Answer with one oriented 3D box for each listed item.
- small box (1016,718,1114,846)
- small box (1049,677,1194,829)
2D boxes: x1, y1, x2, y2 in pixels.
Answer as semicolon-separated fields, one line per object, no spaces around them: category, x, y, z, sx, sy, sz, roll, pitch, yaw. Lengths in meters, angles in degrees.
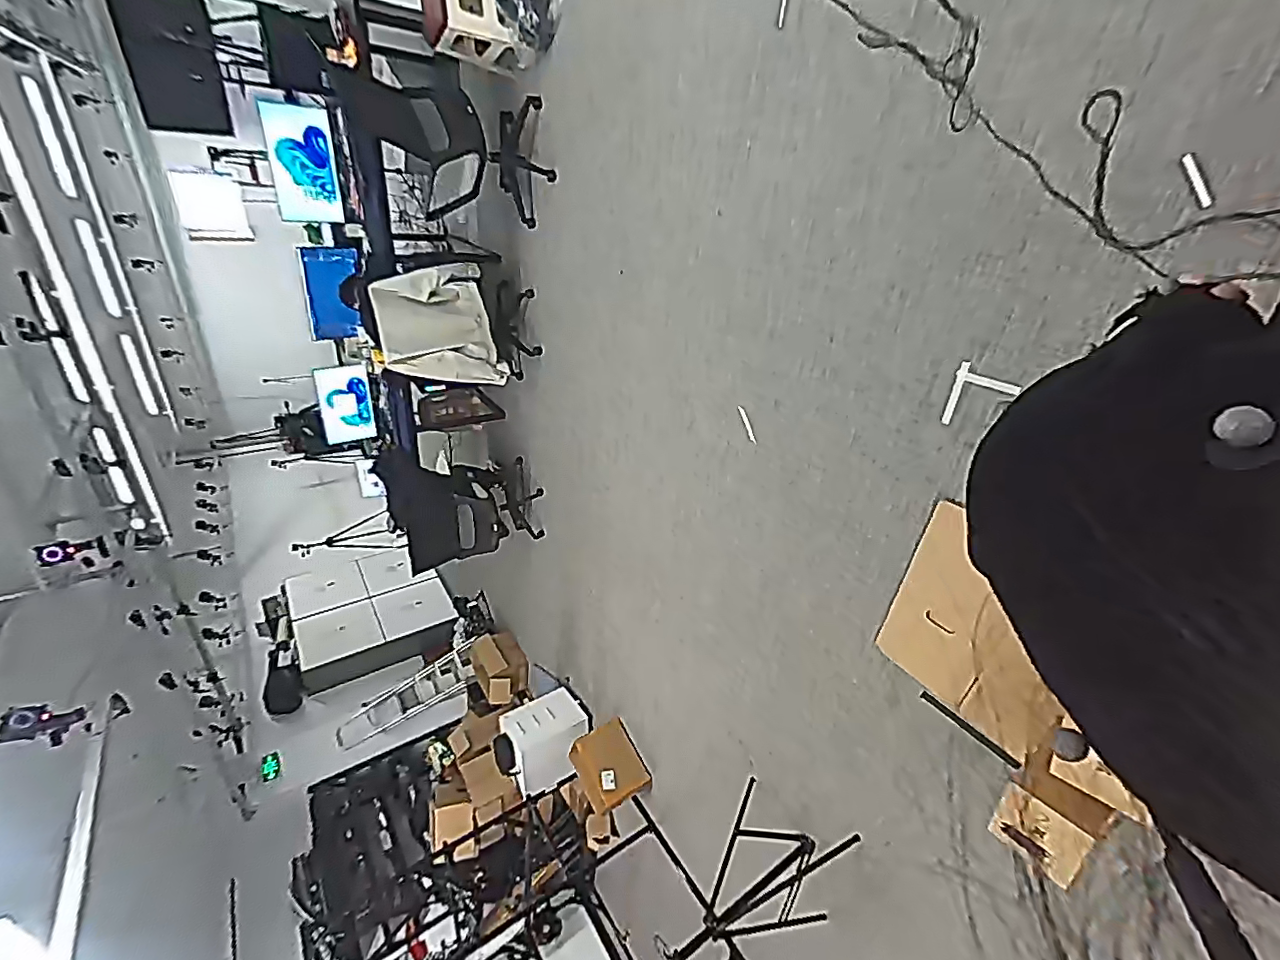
small box;1.069;0.731;1.325;0.168;0.176;0.179;28;125;48
small box;0.968;0.539;1.089;0.168;0.176;0.179;22;121;50
